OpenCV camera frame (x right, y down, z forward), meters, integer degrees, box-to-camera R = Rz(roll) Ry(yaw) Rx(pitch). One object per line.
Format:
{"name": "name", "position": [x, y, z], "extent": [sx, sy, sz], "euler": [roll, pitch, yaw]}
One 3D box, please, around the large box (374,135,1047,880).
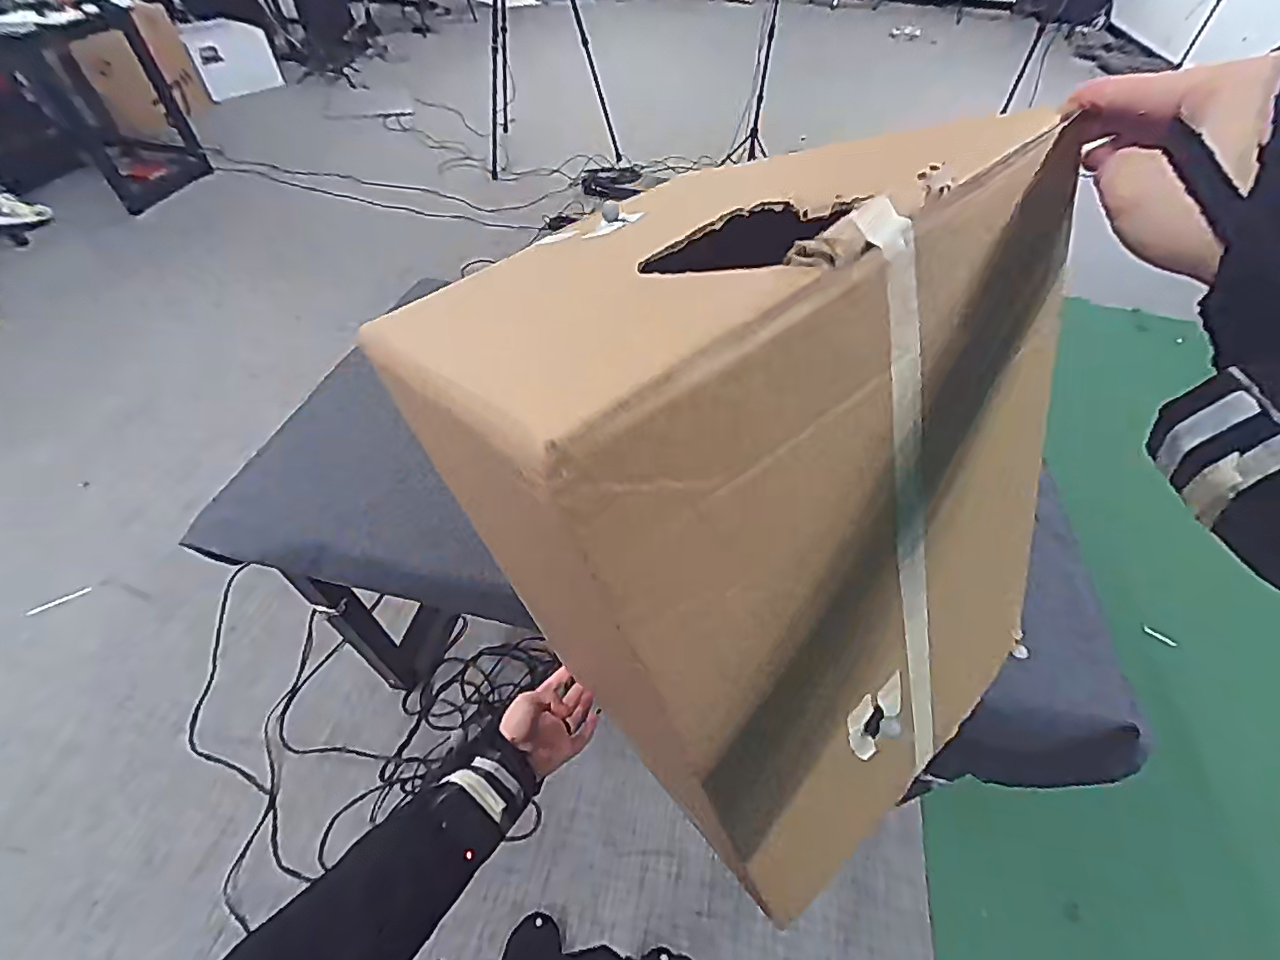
{"name": "large box", "position": [0.066, 0.011, 0.442], "extent": [0.320, 0.408, 0.320], "euler": [-37, 38, -20]}
